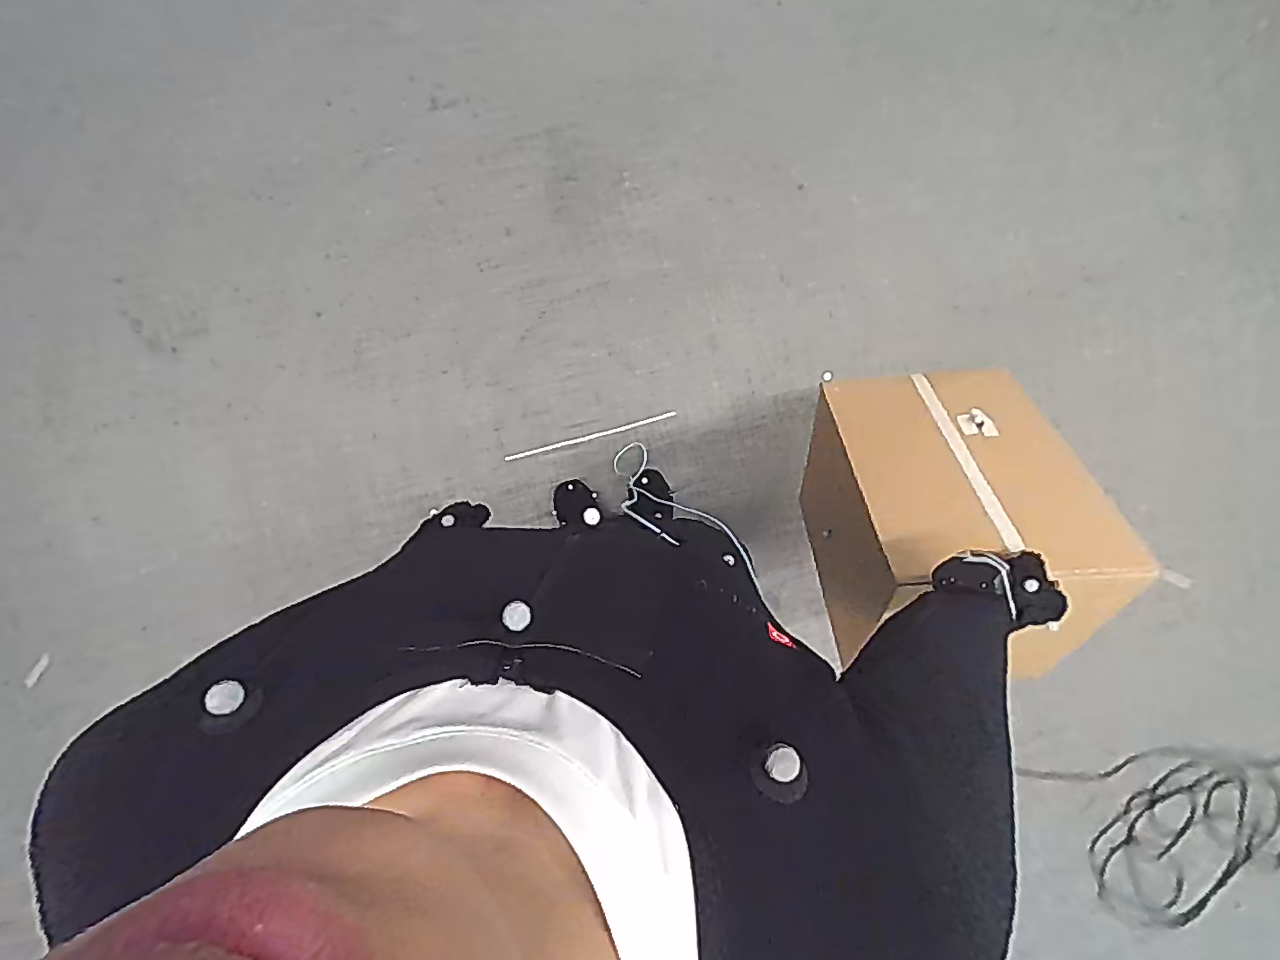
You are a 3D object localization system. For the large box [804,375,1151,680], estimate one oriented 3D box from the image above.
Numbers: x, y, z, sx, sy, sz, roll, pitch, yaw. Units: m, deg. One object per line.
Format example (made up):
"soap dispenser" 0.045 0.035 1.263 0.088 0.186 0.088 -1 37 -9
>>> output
"large box" 0.486 0.077 0.907 0.320 0.408 0.320 -3 137 3
